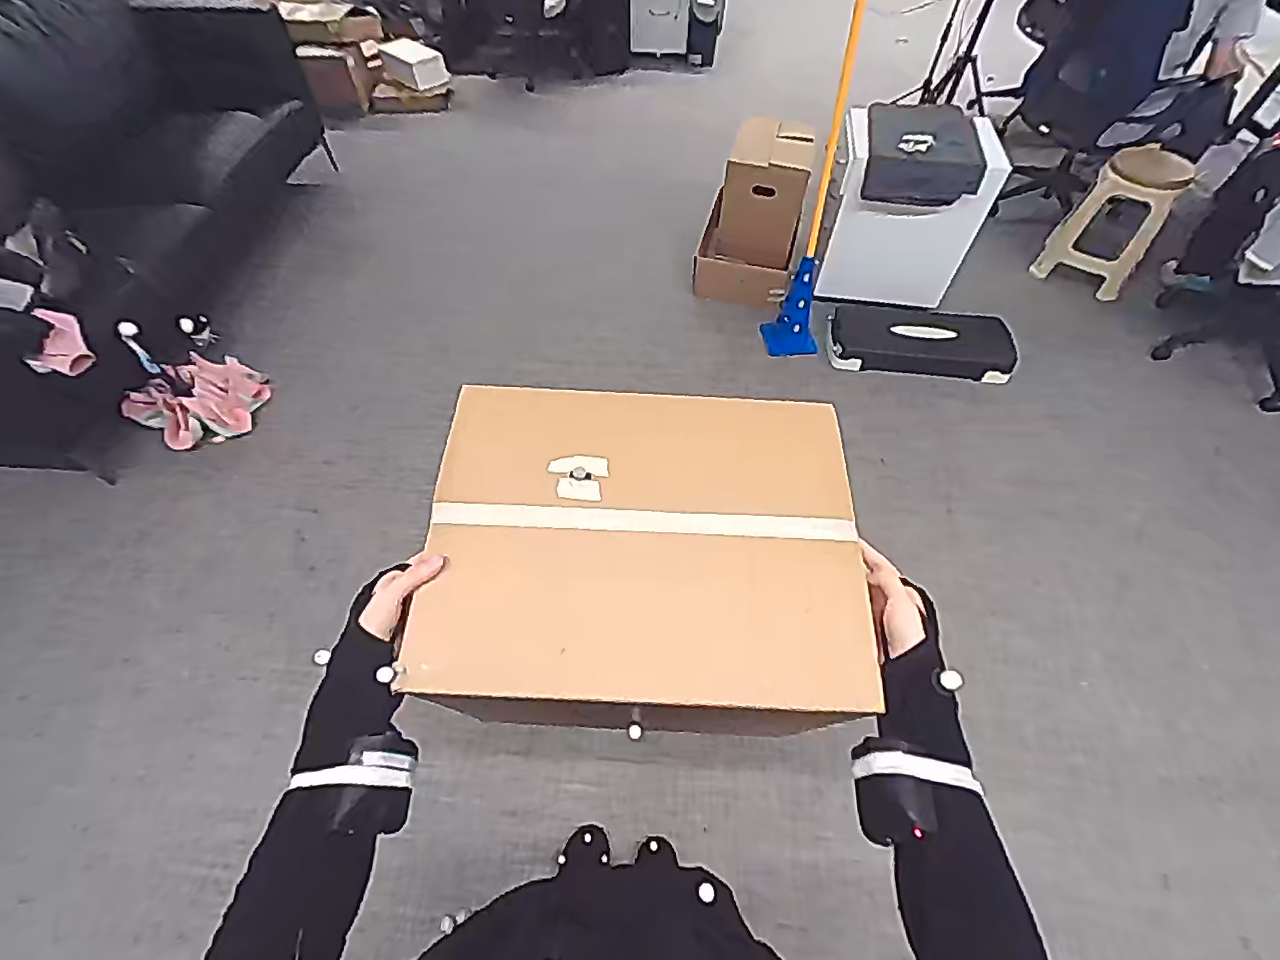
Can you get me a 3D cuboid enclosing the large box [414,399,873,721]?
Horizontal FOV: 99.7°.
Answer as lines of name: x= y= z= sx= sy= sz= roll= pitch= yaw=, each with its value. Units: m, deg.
large box: x=0.007 y=0.118 z=0.662 sx=0.408 sy=0.320 sz=0.320 roll=2 pitch=61 yaw=0
